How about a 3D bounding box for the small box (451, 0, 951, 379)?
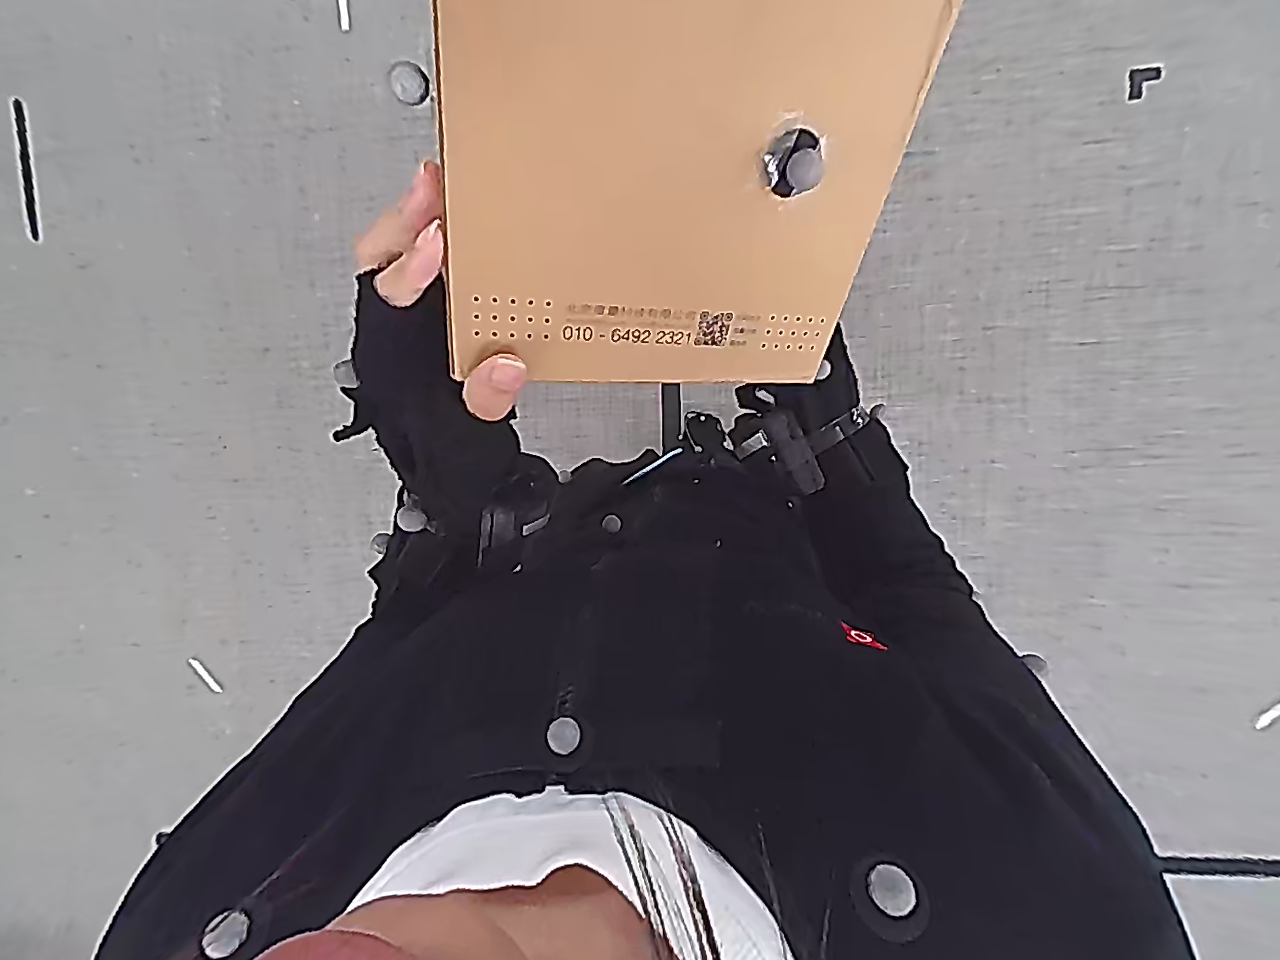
[{"bbox_3d":[0.001,-0.159,0.253,0.168,0.179,0.176,-2,129,-19],"label":"small box"}]
